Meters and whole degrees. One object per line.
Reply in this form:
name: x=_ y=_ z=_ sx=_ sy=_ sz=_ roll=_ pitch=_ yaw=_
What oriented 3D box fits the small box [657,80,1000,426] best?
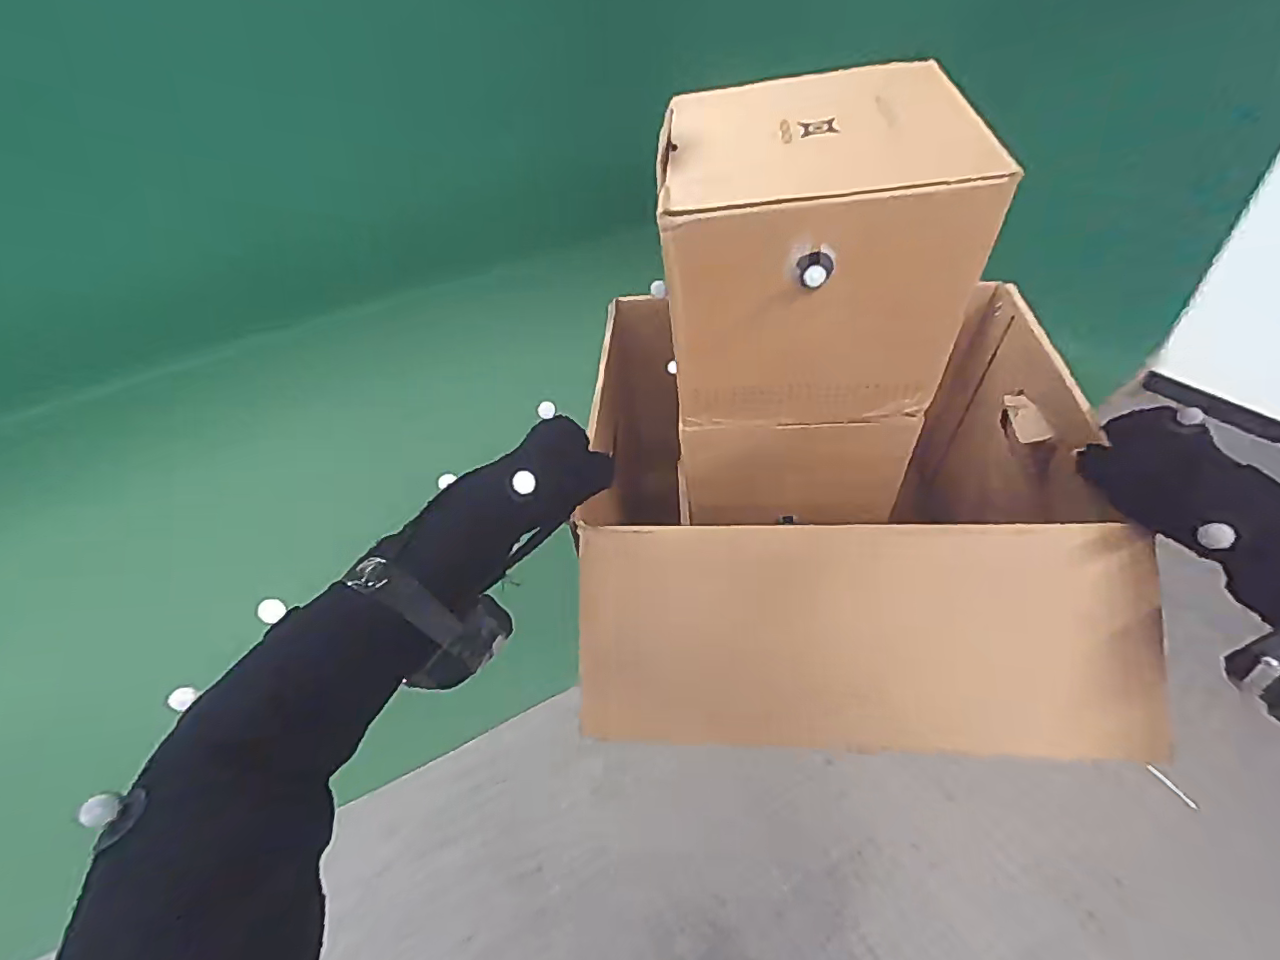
small box: x=0.109 y=-0.153 z=0.390 sx=0.179 sy=0.176 sz=0.168 roll=-2 pitch=53 yaw=7
